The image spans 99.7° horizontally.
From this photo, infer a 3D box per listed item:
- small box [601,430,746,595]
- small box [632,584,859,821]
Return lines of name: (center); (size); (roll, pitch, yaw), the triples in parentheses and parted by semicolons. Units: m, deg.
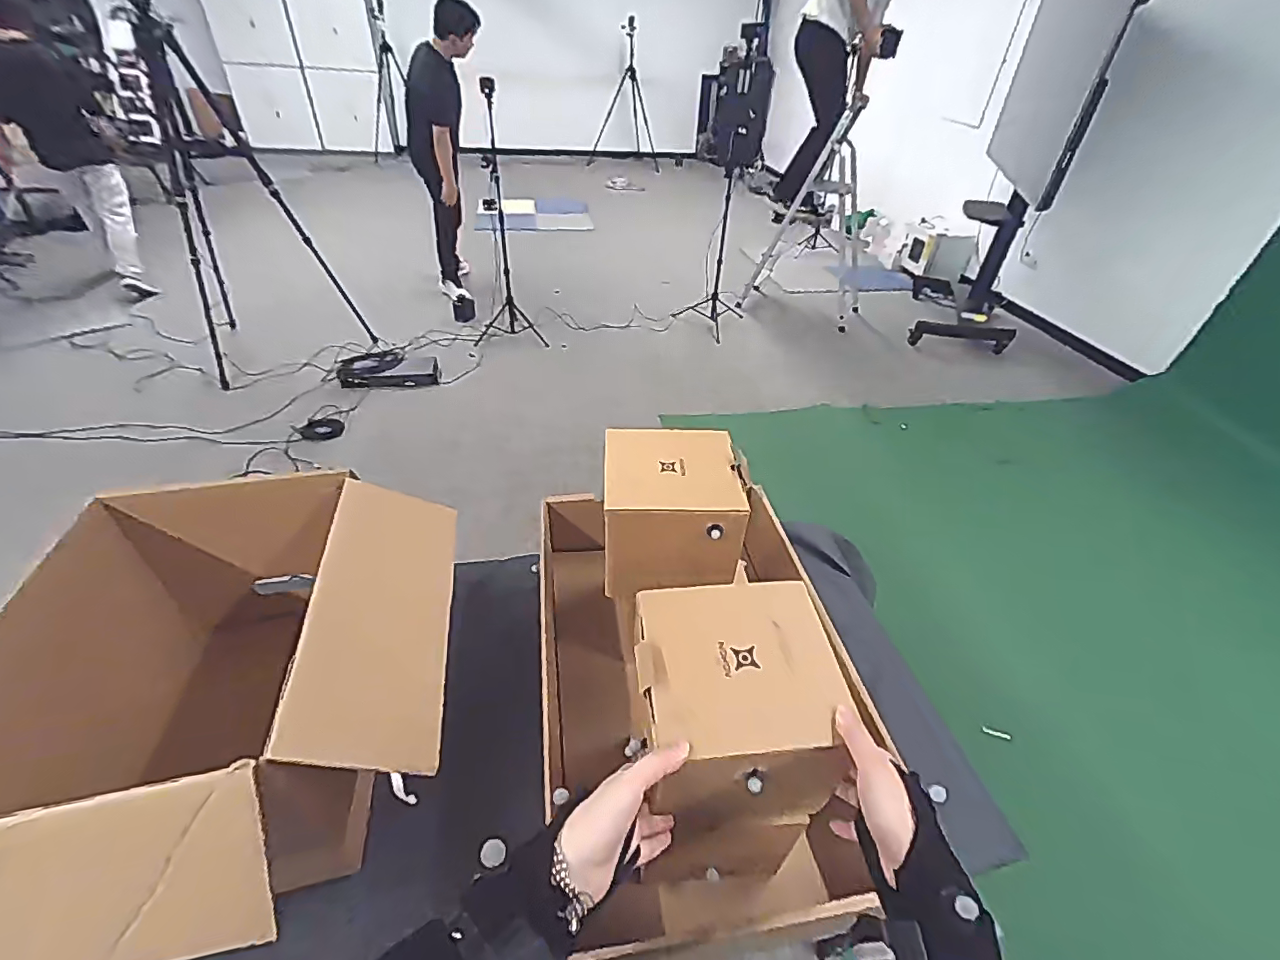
small box: (0.035, 0.047, 0.753); (0.179, 0.176, 0.168); (1, 41, -4)
small box: (0.085, 0.225, 0.549); (0.179, 0.176, 0.168); (-2, 43, -8)
